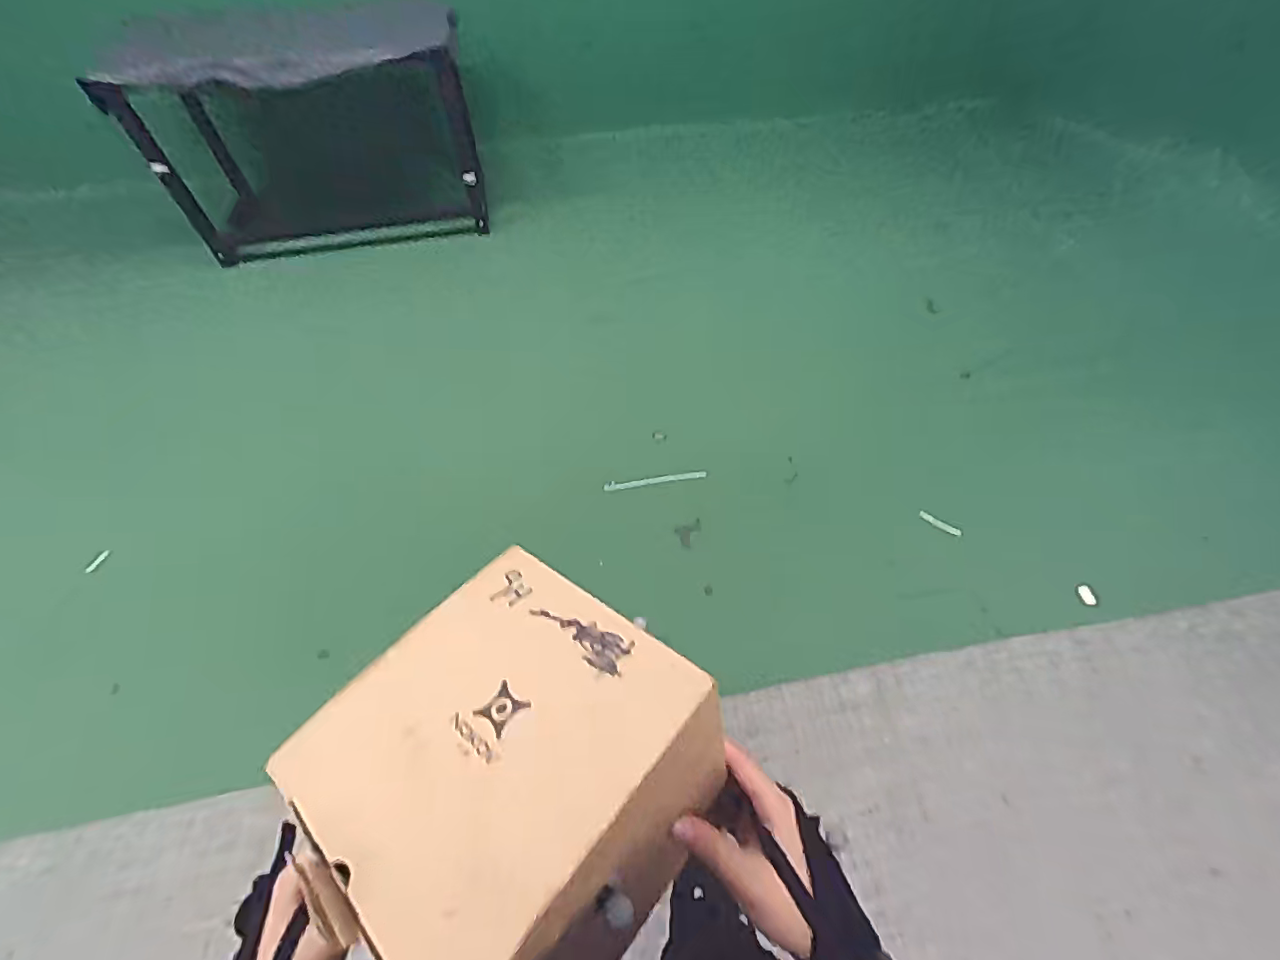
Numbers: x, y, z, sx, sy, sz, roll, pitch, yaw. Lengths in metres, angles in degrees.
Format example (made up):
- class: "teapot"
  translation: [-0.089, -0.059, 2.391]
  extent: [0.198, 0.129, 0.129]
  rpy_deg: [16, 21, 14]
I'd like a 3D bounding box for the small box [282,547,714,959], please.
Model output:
- class: "small box"
  translation: [-0.065, 0.183, 0.339]
  extent: [0.168, 0.176, 0.179]
  rpy_deg: [25, 54, 33]
